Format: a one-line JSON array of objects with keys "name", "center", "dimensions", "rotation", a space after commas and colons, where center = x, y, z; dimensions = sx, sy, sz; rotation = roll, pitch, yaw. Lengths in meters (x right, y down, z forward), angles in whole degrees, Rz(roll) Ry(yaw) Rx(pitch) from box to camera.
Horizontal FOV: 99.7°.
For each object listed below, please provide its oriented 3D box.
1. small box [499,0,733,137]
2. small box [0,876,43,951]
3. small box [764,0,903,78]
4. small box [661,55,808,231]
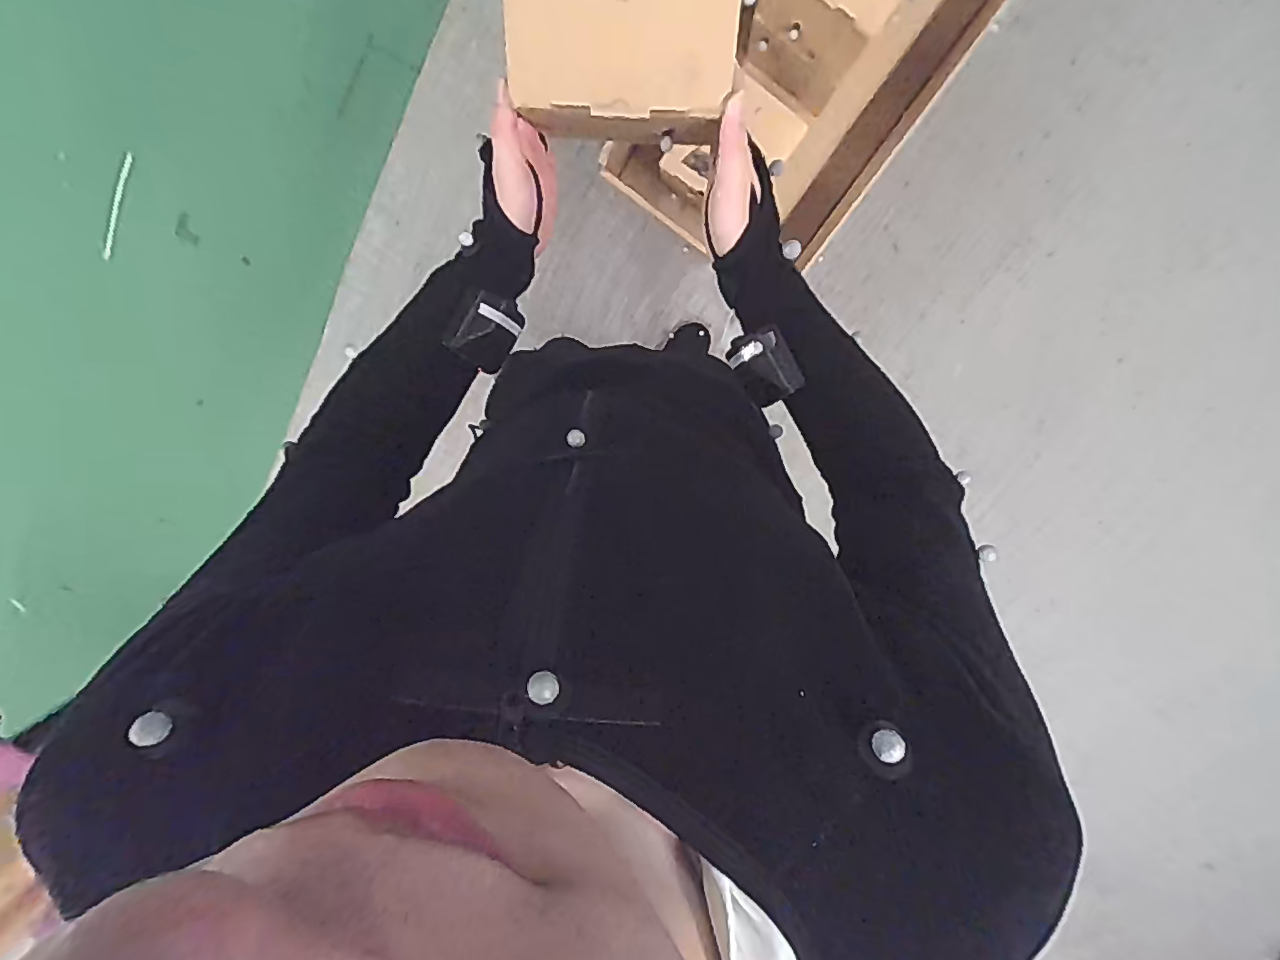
[{"name": "small box", "center": [-0.012, -0.387, 0.433], "dimensions": [0.168, 0.176, 0.179], "rotation": [3, 116, 0]}, {"name": "small box", "center": [-1.641, 1.085, 1.324], "dimensions": [0.168, 0.176, 0.179], "rotation": [32, 106, -6]}, {"name": "small box", "center": [0.279, -0.678, 0.697], "dimensions": [0.168, 0.176, 0.179], "rotation": [35, 110, -7]}, {"name": "small box", "center": [0.154, -0.553, 0.921], "dimensions": [0.168, 0.176, 0.179], "rotation": [35, 107, -7]}]
